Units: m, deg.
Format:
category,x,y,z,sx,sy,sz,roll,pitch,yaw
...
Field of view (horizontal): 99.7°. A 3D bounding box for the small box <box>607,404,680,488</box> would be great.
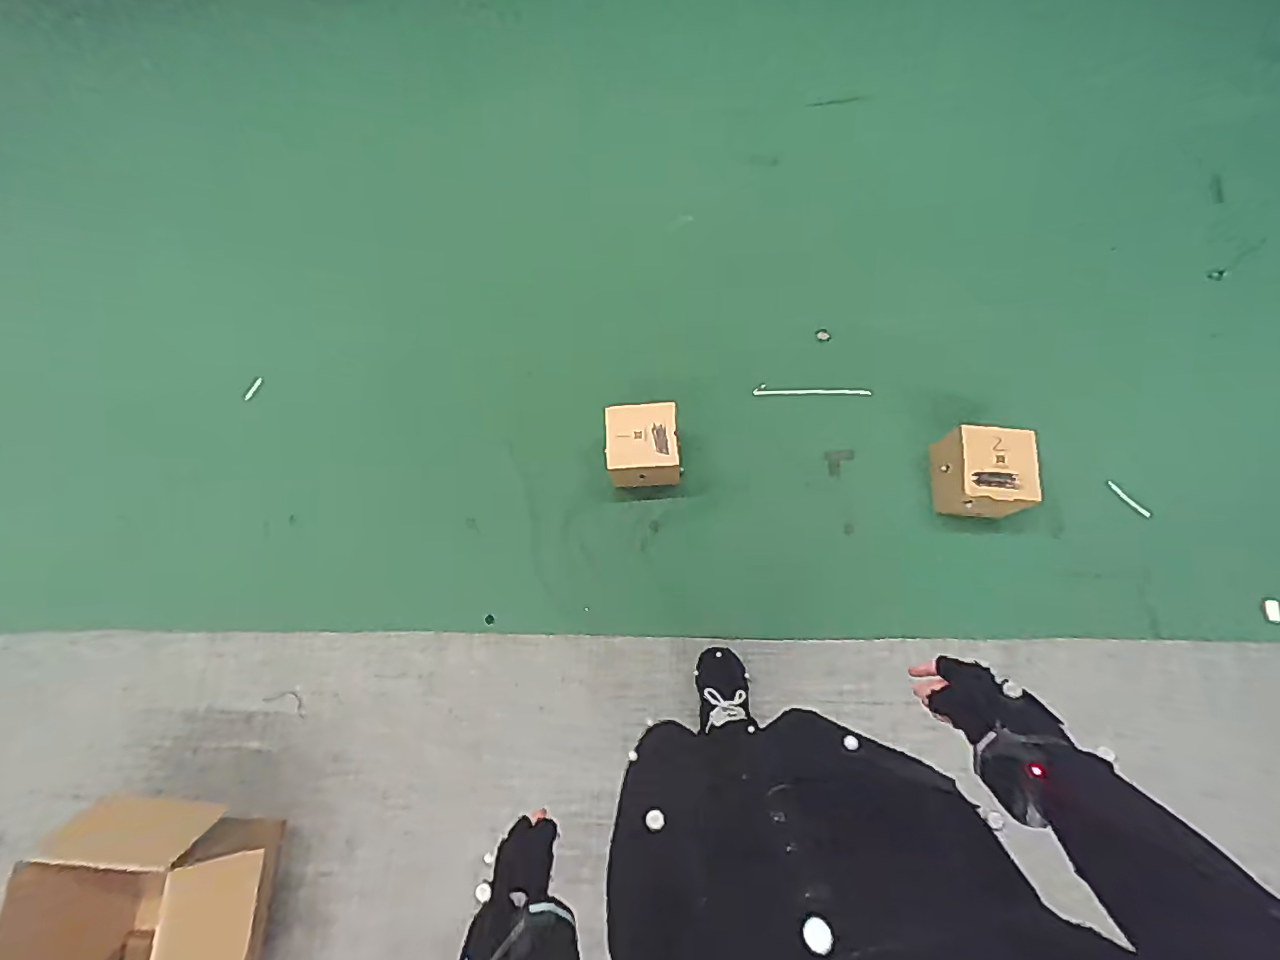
category,x,y,z,sx,sy,sz,roll,pitch,yaw
small box,0.011,-0.082,1.380,0.179,0.176,0.168,-3,73,4
